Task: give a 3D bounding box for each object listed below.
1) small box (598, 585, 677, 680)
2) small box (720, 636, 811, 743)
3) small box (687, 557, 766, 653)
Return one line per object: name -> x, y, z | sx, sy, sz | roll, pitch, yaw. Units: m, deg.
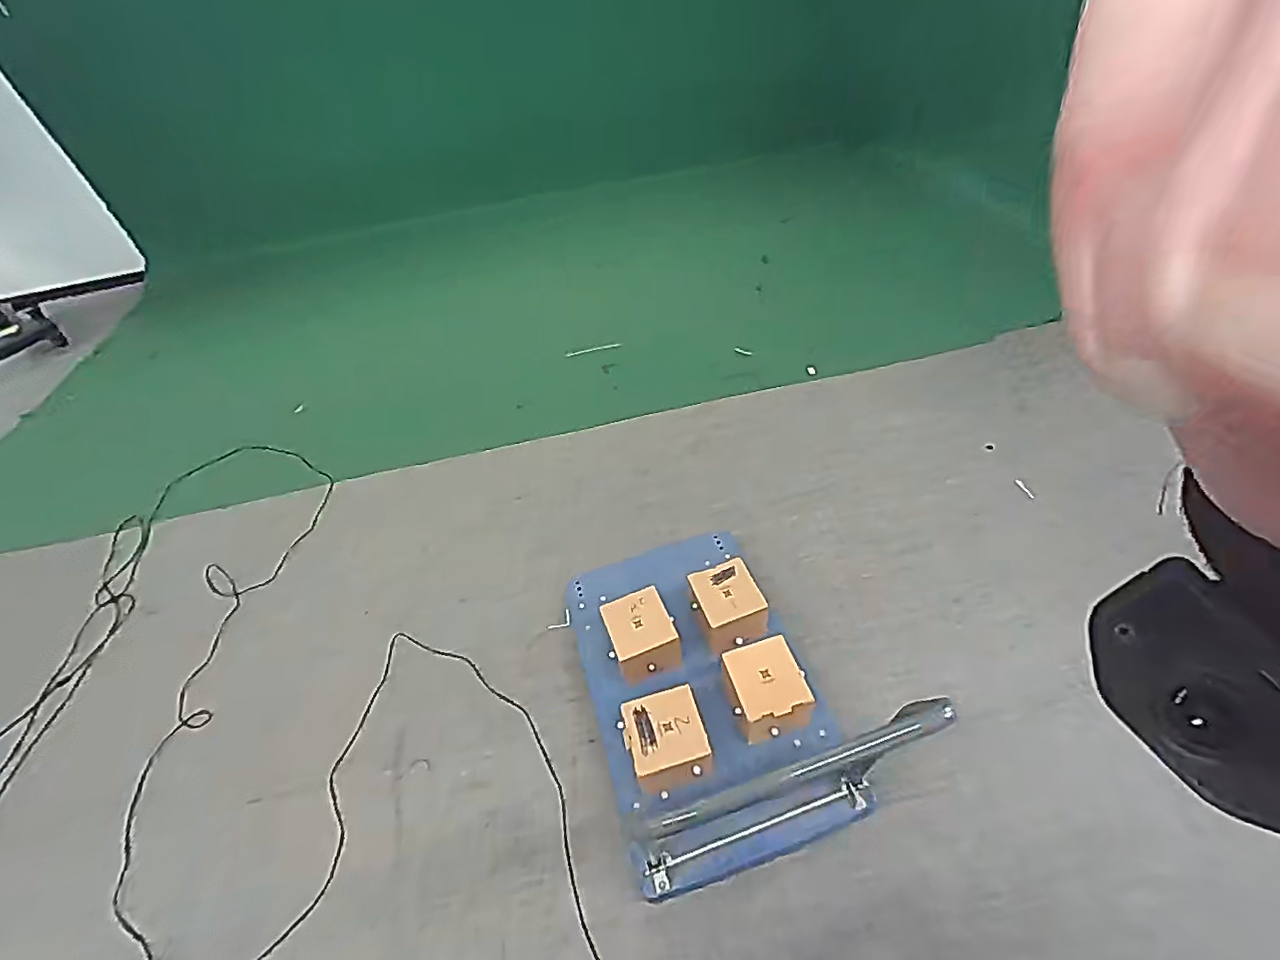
small box -> -0.004, 0.427, 1.491 | 0.168, 0.176, 0.179 | -19, 47, -10
small box -> 0.305, 0.527, 1.358 | 0.168, 0.176, 0.179 | -15, 46, -6
small box -> 0.239, 0.354, 1.524 | 0.168, 0.176, 0.179 | -18, 48, -8
